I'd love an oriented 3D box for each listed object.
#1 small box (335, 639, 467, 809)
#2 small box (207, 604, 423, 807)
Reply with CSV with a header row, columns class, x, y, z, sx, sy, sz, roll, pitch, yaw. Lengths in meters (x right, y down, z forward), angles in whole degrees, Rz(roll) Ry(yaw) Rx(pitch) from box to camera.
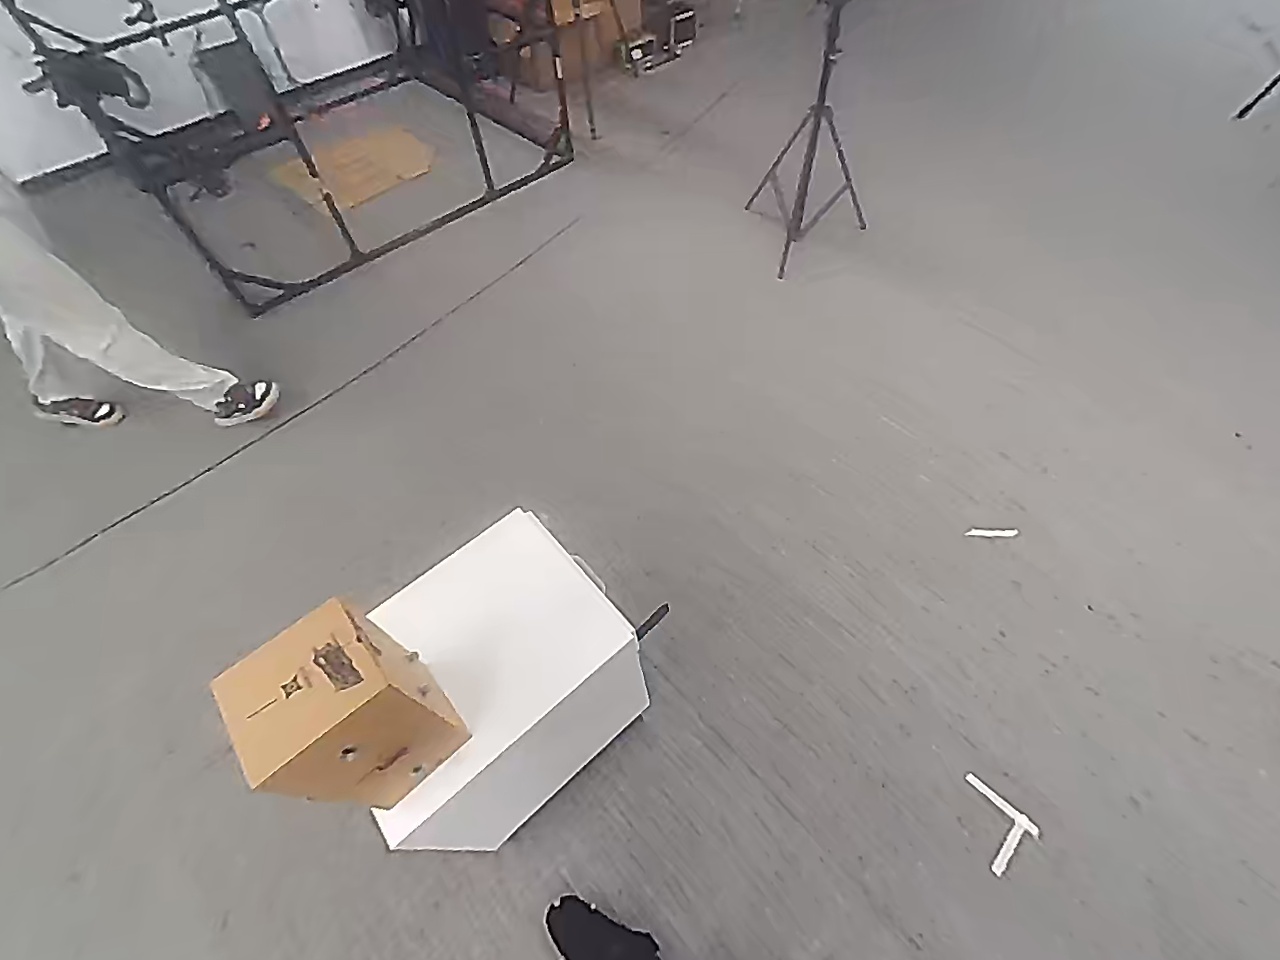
class,x,y,z,sx,sy,sz,roll,pitch,yaw
small box,-0.412,0.398,0.873,0.168,0.176,0.179,-38,60,-20
small box,-0.422,0.308,0.735,0.179,0.176,0.168,-38,60,-19
